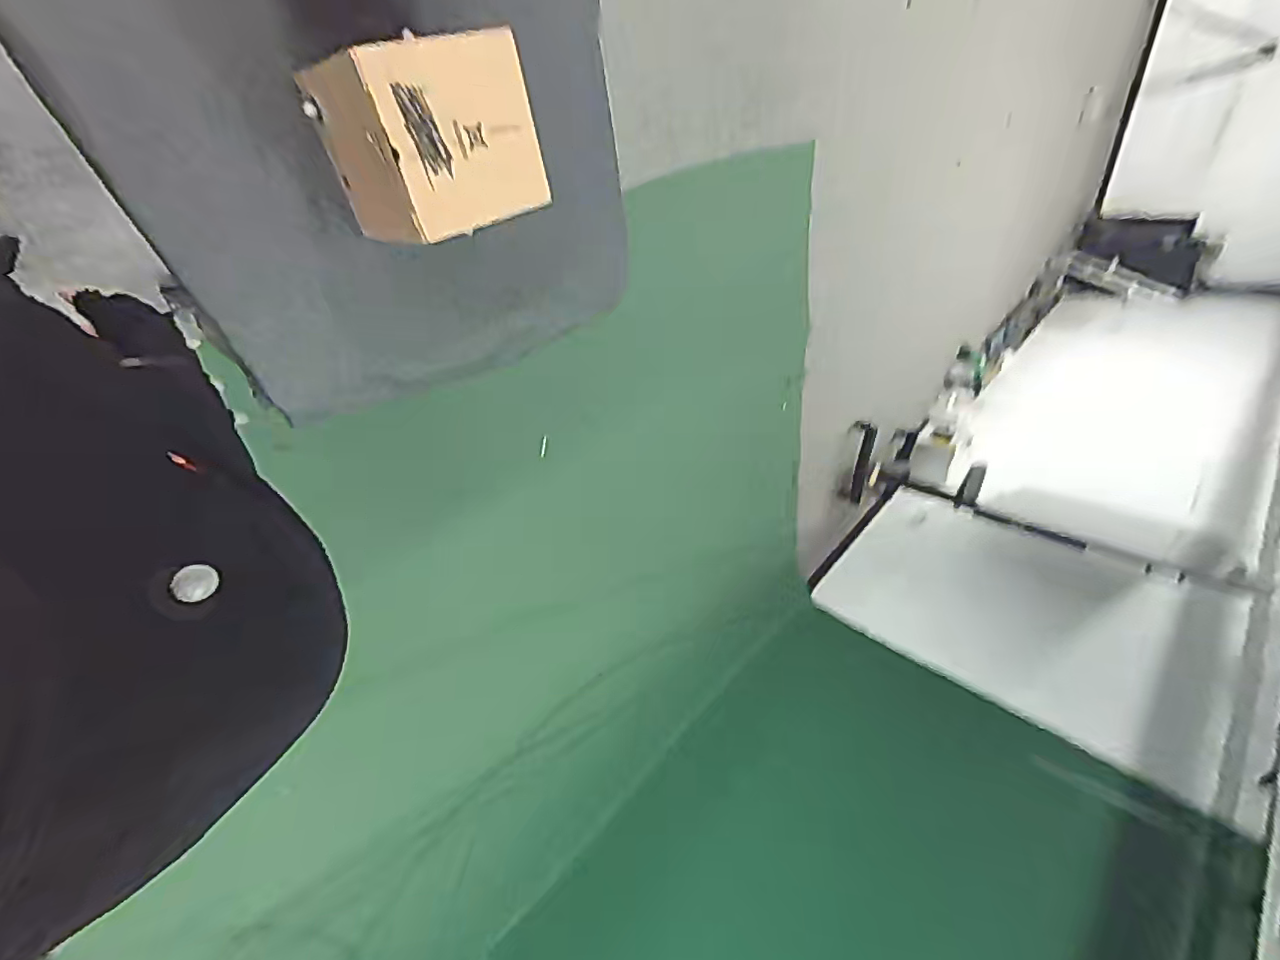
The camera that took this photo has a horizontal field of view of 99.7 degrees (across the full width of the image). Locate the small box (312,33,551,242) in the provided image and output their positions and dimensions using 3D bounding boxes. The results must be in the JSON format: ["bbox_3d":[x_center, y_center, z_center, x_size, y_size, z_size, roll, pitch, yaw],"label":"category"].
[{"bbox_3d":[-0.235,-0.378,0.609,0.179,0.176,0.168,-38,134,-31],"label":"small box"}]
